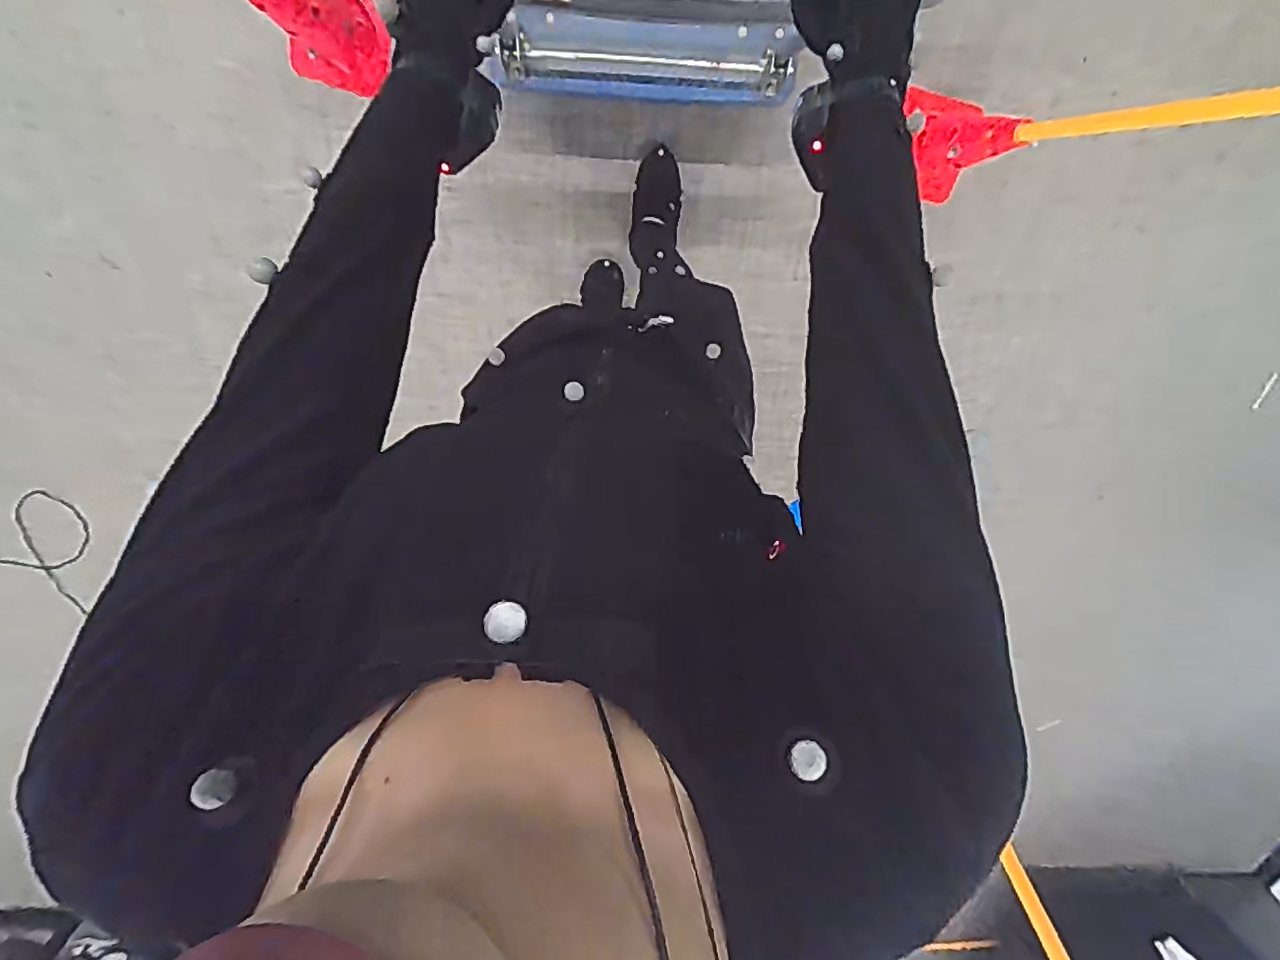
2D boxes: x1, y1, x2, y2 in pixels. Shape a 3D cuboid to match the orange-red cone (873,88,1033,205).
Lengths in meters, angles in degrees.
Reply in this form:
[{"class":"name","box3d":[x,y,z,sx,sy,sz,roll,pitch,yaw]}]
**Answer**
[{"class":"orange-red cone","box3d":[0.653,-0.671,1.075,0.198,0.360,0.199,13,118,-7]}]
